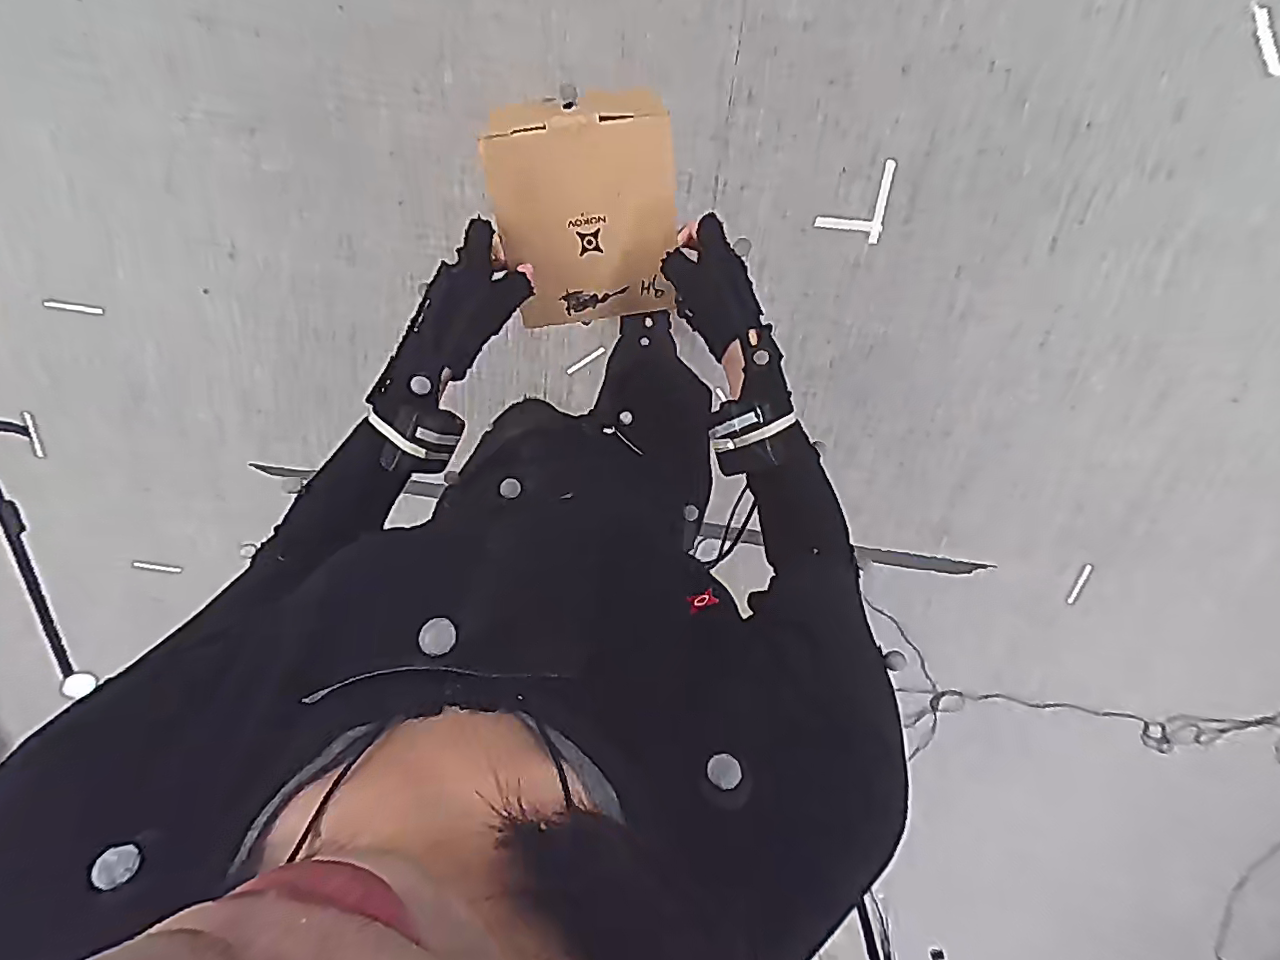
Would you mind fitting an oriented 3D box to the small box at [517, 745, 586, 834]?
[{"bbox_3d":[-0.269,0.954,1.677,0.179,0.176,0.168,10,113,-1],"label":"small box"}]

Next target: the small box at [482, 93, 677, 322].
[{"bbox_3d":[-0.058,-0.290,0.565,0.168,0.176,0.179,-8,131,-2],"label":"small box"}]
